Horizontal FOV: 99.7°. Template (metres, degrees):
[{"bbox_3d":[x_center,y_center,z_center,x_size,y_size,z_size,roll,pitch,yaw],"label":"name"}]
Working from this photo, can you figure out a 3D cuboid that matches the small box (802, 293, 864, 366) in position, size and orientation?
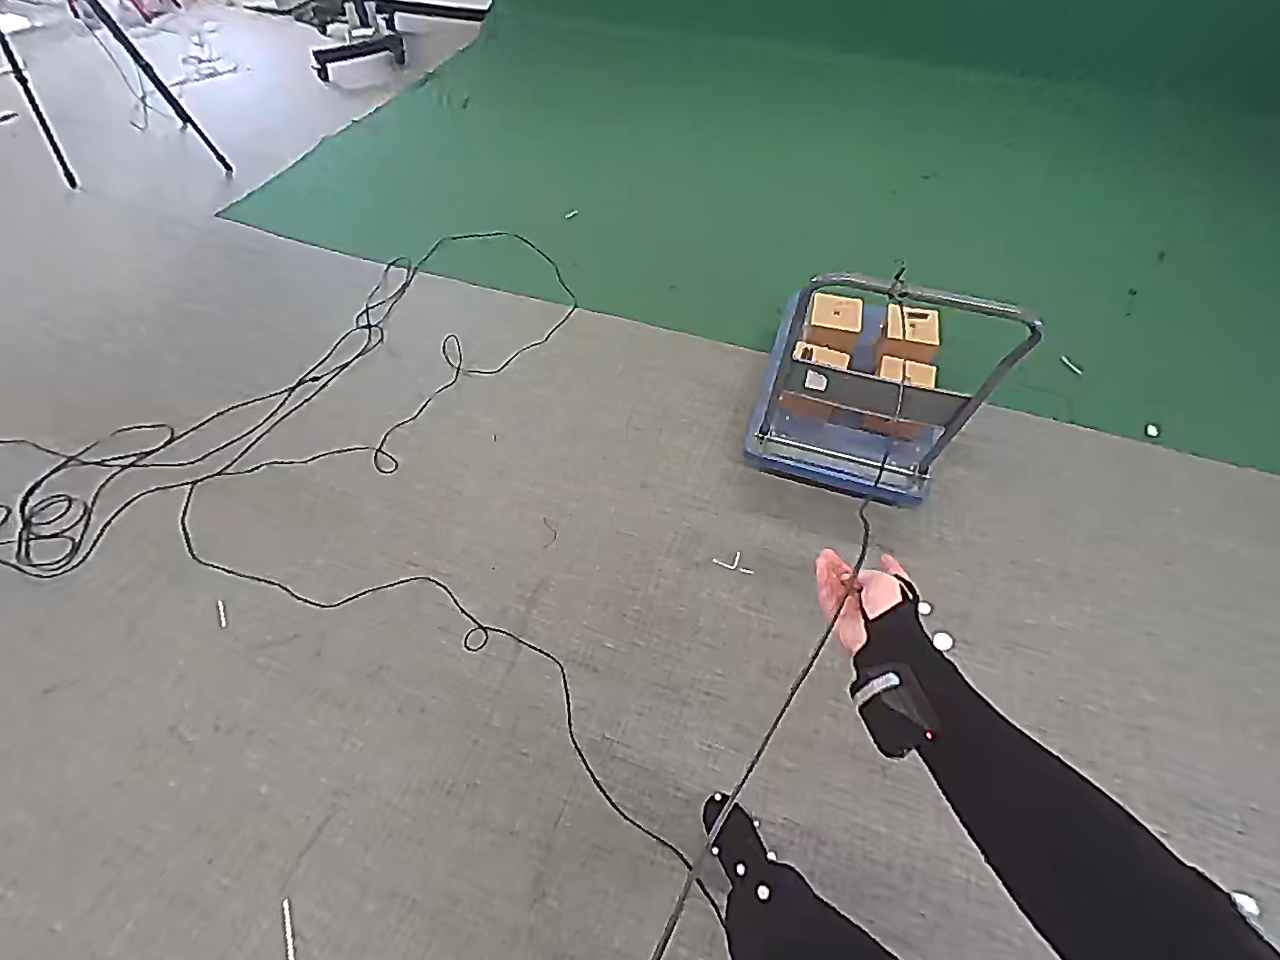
[{"bbox_3d":[0.685,-0.533,1.927,0.168,0.176,0.179,13,57,9],"label":"small box"}]

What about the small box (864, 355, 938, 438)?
[{"bbox_3d":[0.839,-0.268,1.746,0.168,0.176,0.179,16,59,12],"label":"small box"}]

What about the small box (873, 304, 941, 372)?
[{"bbox_3d":[0.928,-0.481,1.887,0.168,0.176,0.179,12,58,10],"label":"small box"}]
